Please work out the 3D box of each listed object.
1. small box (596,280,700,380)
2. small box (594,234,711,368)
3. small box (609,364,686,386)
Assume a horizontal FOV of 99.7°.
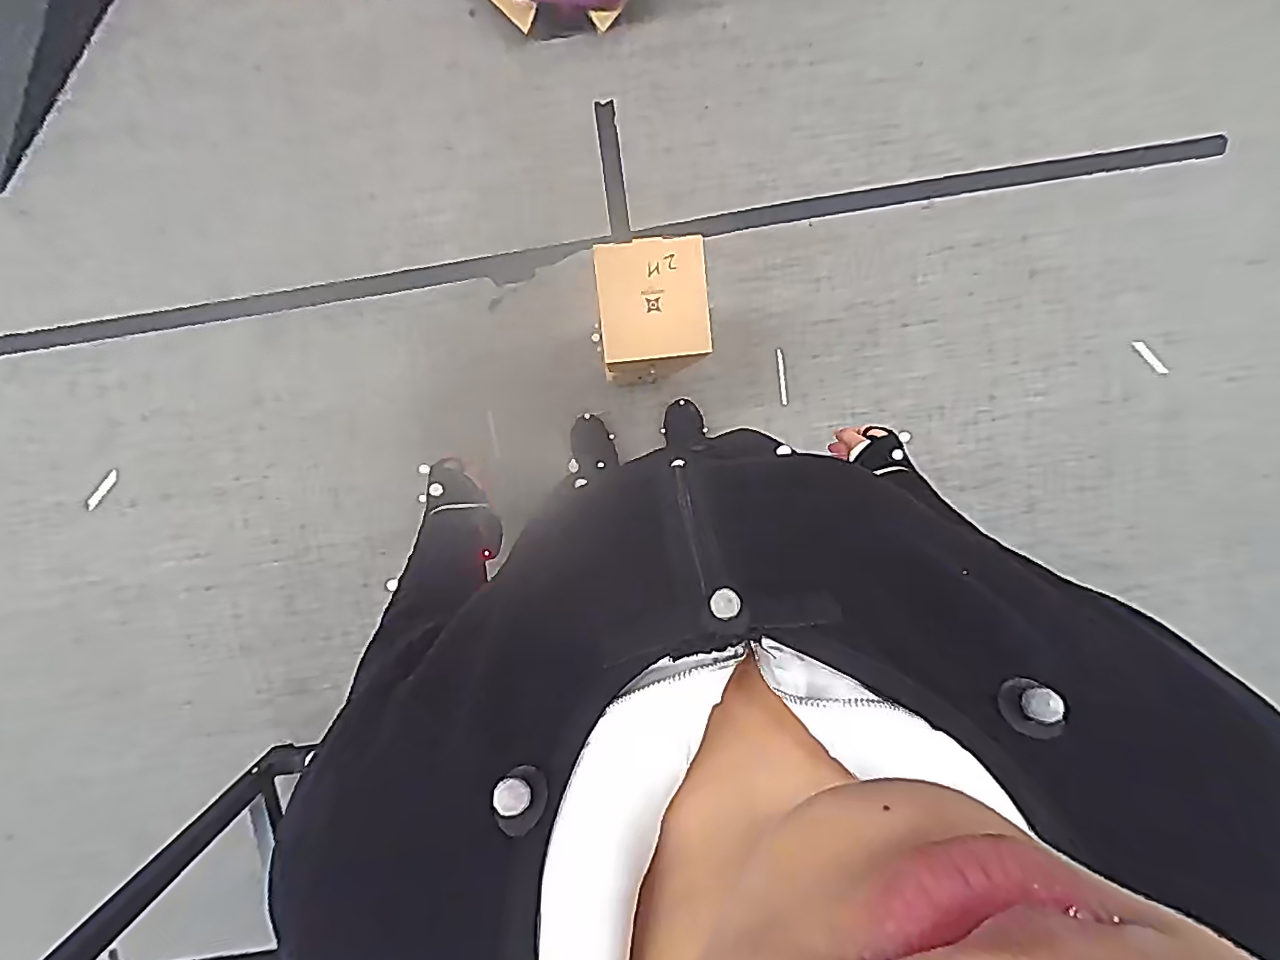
[{"bbox_3d":[0.012,-0.298,1.051,0.168,0.176,0.179,-11,97,0],"label":"small box"},{"bbox_3d":[0.019,-0.280,0.887,0.168,0.176,0.179,-6,96,-1],"label":"small box"},{"bbox_3d":[0.004,-0.316,1.214,0.168,0.176,0.179,-11,96,0],"label":"small box"}]
